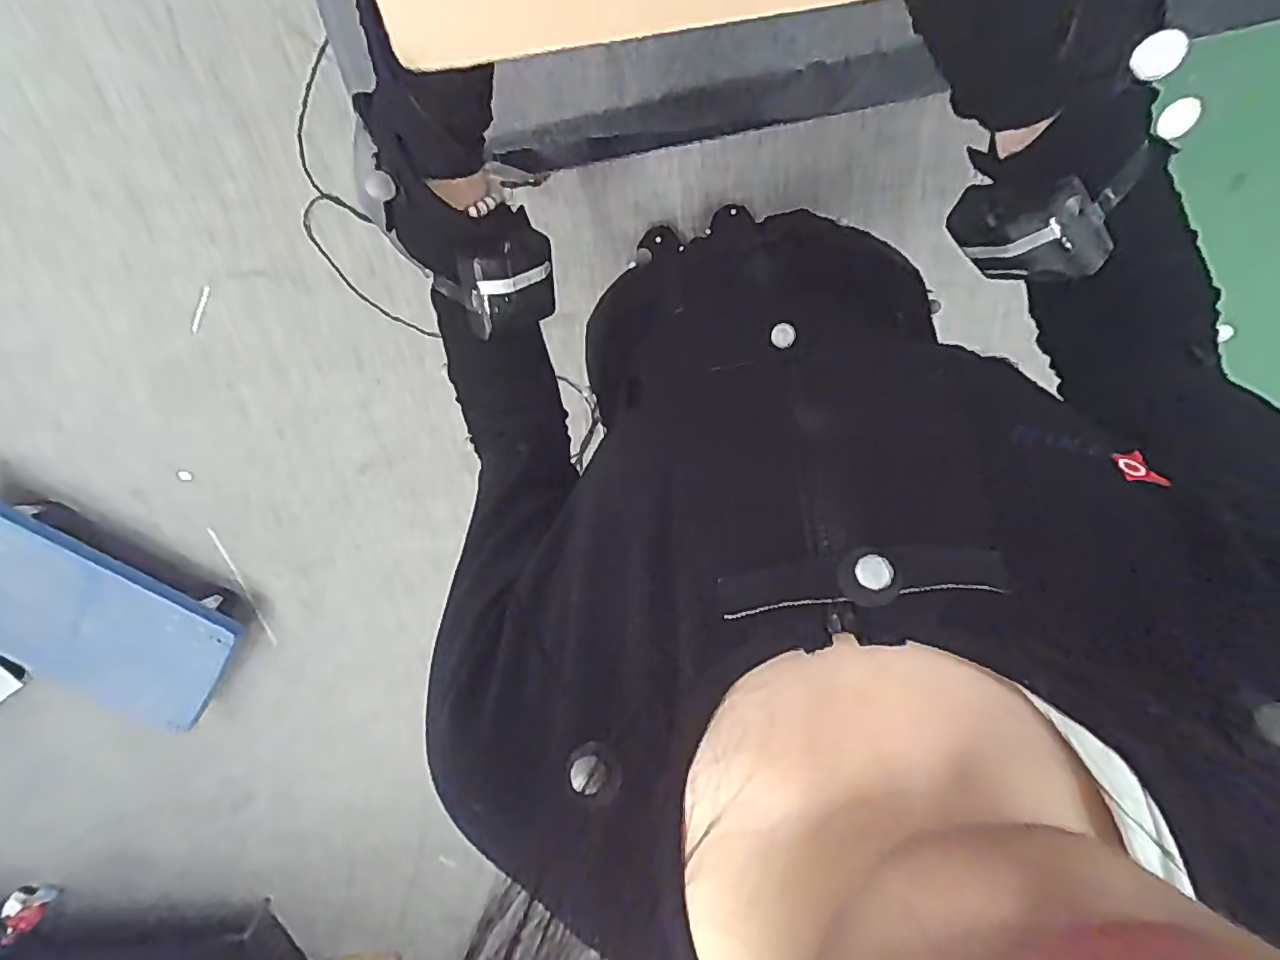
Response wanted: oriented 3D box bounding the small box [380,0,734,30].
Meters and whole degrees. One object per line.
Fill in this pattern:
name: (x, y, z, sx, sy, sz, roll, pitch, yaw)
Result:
small box: (-0.002, -0.259, 0.160, 0.179, 0.176, 0.168, -6, 139, 0)
